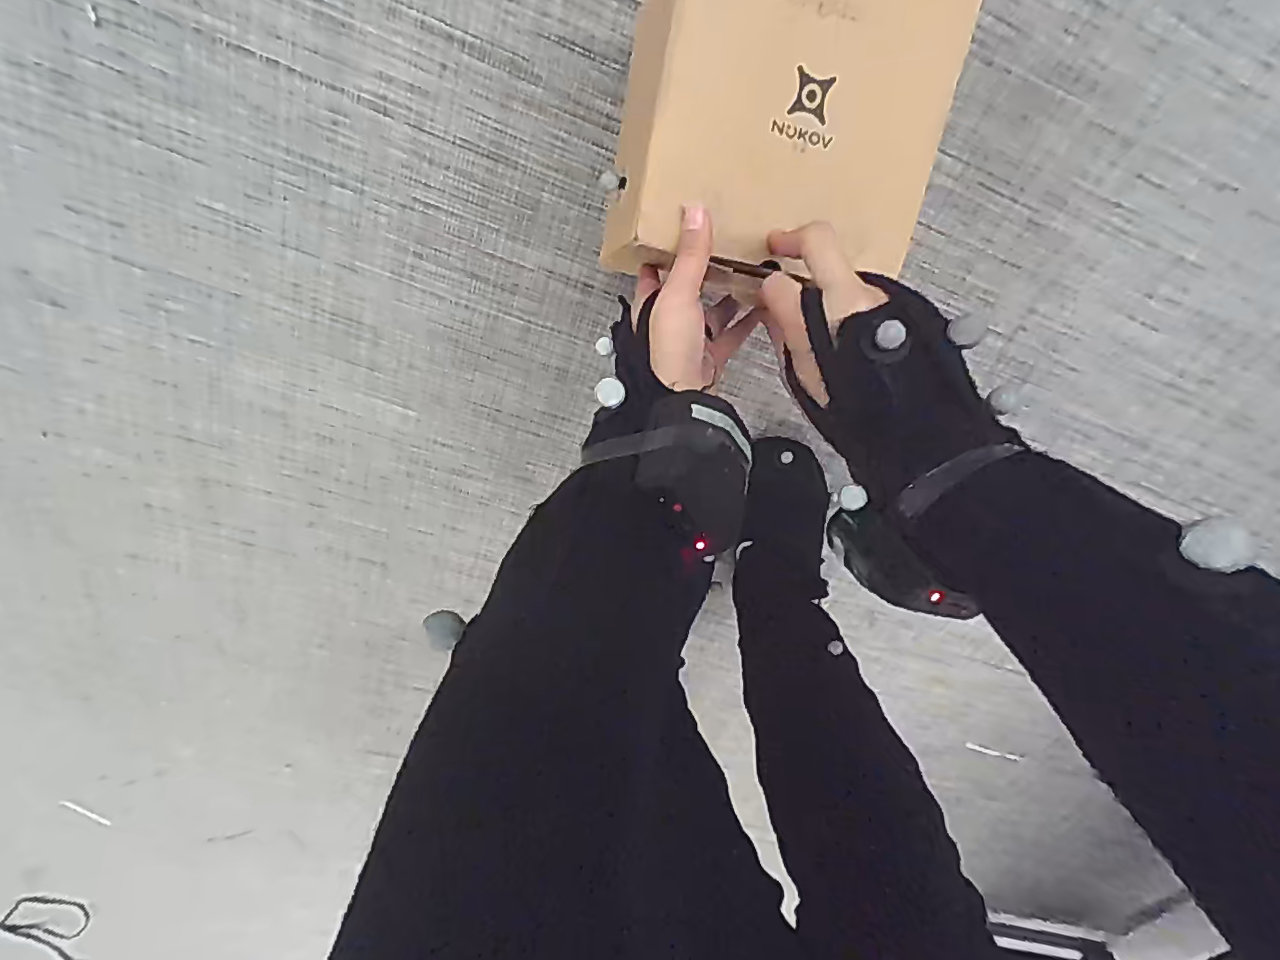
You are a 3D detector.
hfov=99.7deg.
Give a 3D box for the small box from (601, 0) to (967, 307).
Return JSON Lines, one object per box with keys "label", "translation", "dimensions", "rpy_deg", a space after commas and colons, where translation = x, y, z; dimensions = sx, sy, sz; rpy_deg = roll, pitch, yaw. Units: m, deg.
{"label": "small box", "translation": [0.071, -0.223, 0.372], "dimensions": [0.168, 0.176, 0.179], "rpy_deg": [7, 104, -13]}
